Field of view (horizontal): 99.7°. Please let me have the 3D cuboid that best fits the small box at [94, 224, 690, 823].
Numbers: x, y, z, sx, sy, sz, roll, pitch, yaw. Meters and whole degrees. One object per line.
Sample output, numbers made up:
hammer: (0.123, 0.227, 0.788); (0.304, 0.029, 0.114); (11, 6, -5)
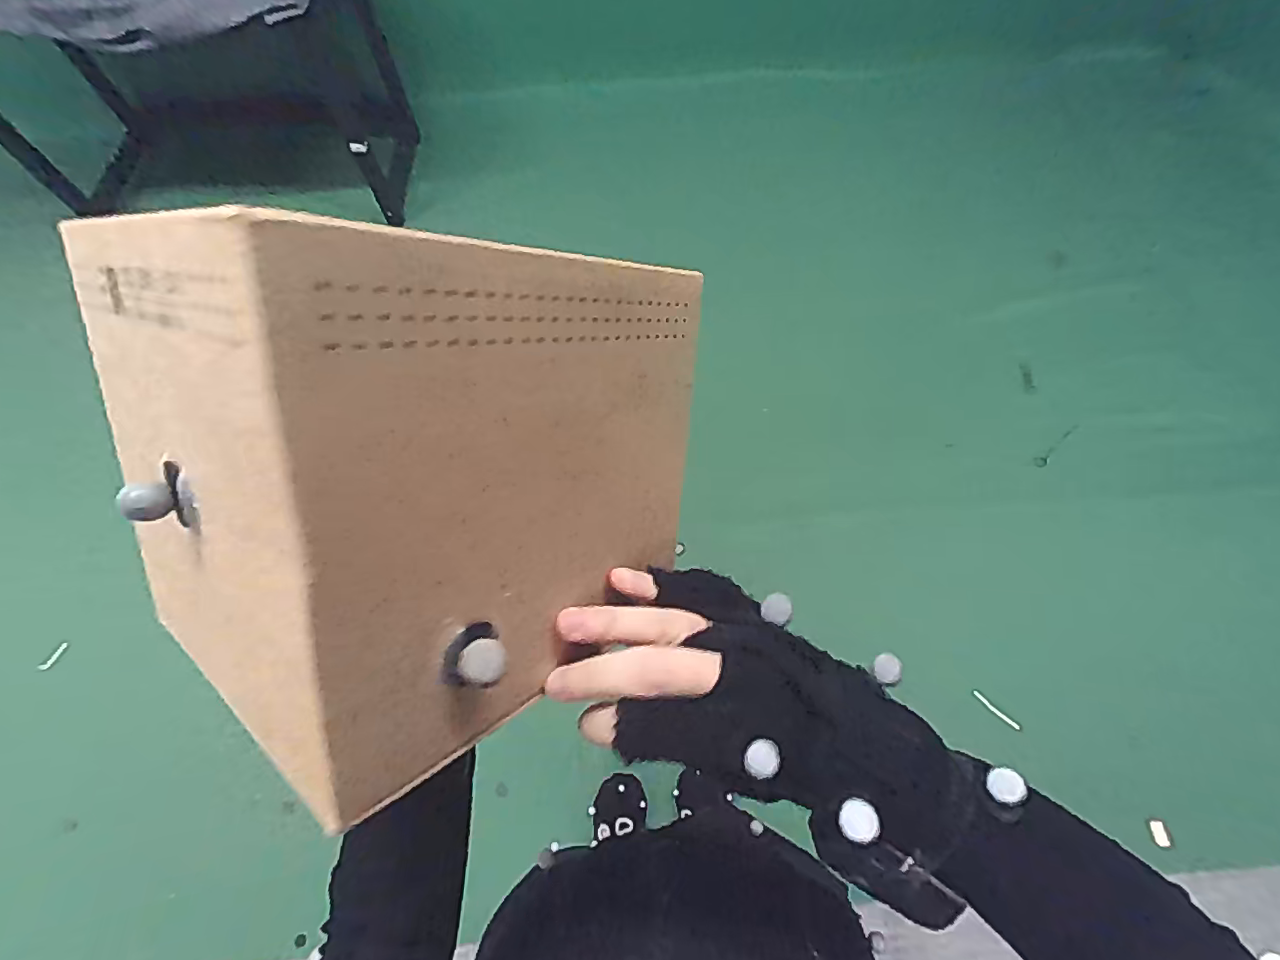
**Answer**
small box: (-0.093, -0.012, 0.241); (0.168, 0.176, 0.179); (17, 21, 31)
